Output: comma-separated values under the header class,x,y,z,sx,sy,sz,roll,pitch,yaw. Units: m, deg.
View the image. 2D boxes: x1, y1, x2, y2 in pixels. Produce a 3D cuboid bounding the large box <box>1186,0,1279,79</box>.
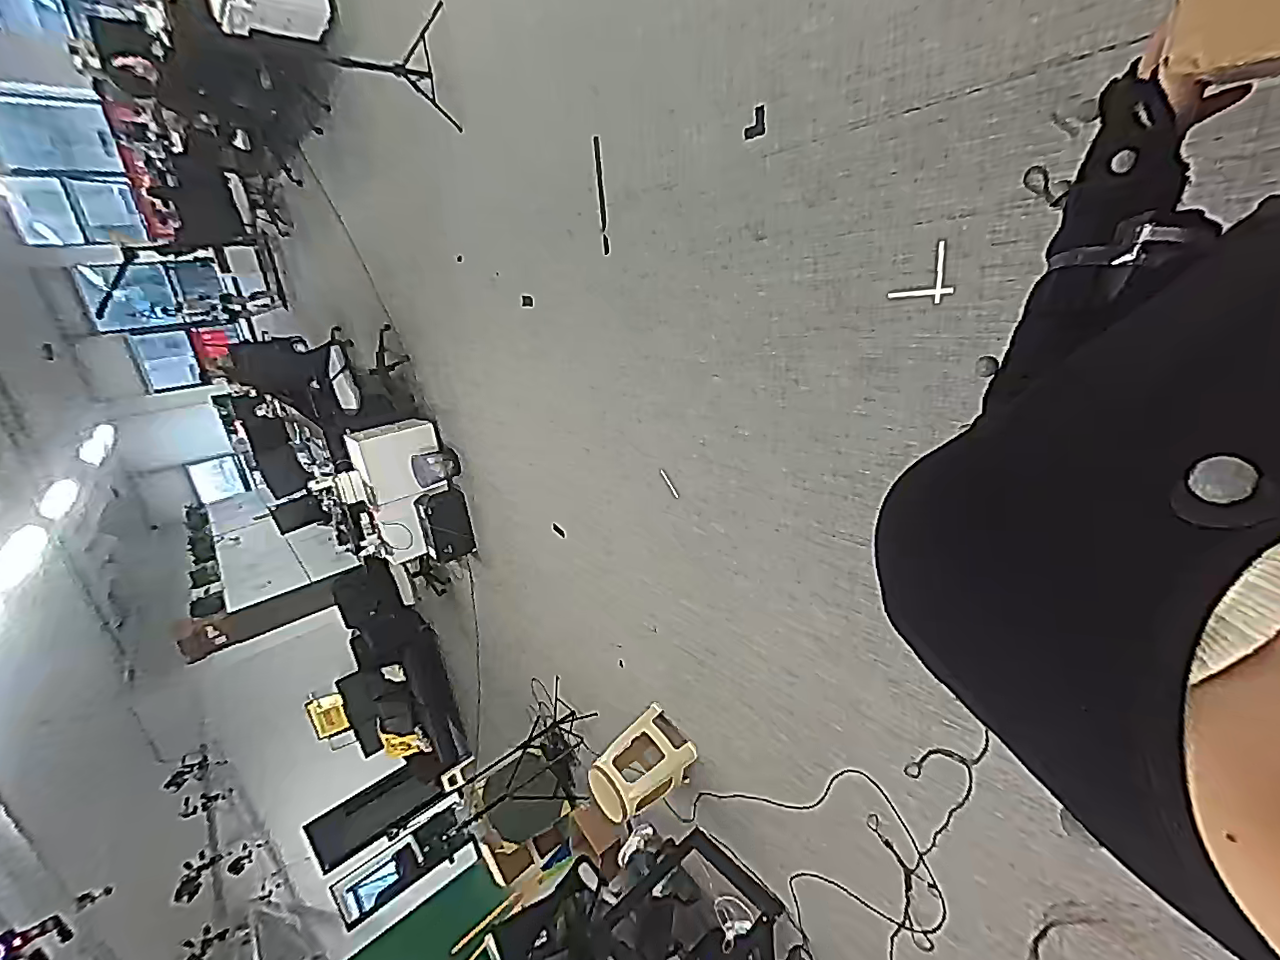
class,x,y,z,sx,sy,sz,roll,pitch,yaw
large box,0.427,-0.326,0.106,0.408,0.320,0.320,15,127,42
